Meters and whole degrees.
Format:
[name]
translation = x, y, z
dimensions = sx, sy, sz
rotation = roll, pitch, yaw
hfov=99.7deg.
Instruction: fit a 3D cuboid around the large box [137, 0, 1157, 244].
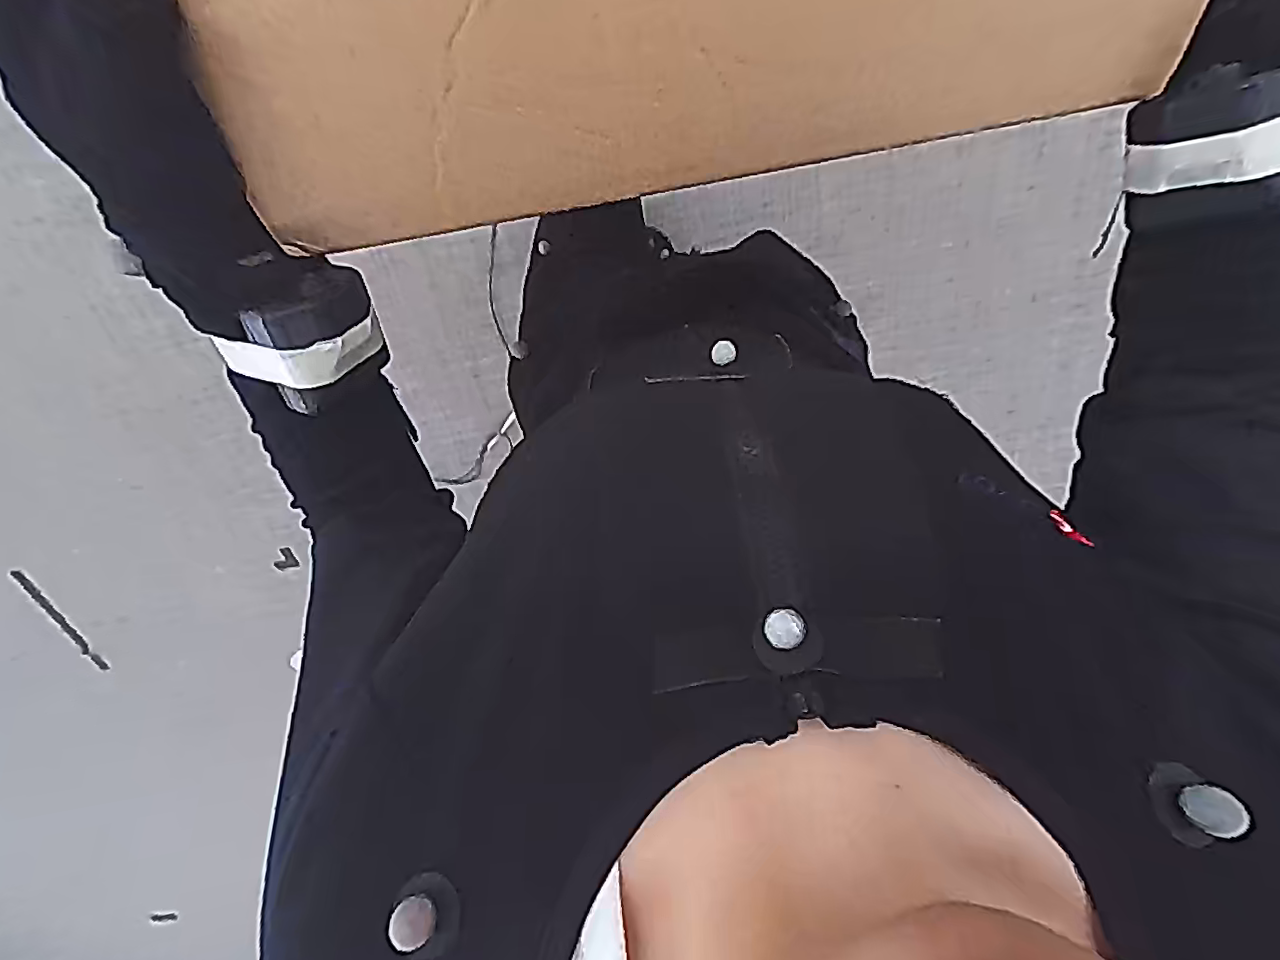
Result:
[large box]
translation = -0.008, -0.358, 0.239
dimensions = 0.408, 0.320, 0.320
rotation = -9, 138, 2
